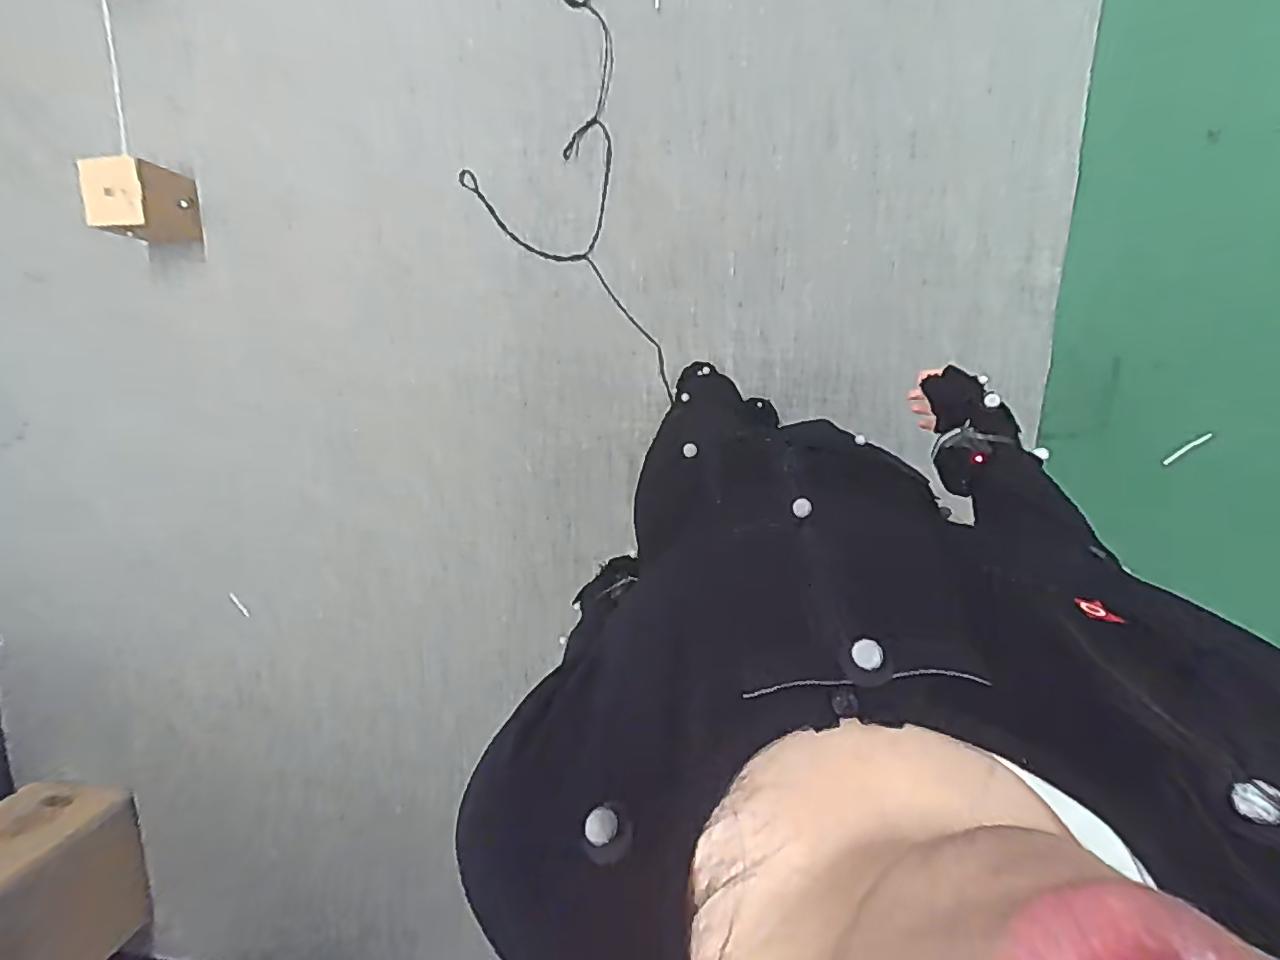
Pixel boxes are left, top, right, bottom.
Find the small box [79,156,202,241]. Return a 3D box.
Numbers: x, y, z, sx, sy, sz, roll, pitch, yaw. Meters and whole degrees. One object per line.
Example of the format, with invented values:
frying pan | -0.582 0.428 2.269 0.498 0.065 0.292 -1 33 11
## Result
small box | -1.347 -0.756 1.468 0.179 0.176 0.168 1 101 7
